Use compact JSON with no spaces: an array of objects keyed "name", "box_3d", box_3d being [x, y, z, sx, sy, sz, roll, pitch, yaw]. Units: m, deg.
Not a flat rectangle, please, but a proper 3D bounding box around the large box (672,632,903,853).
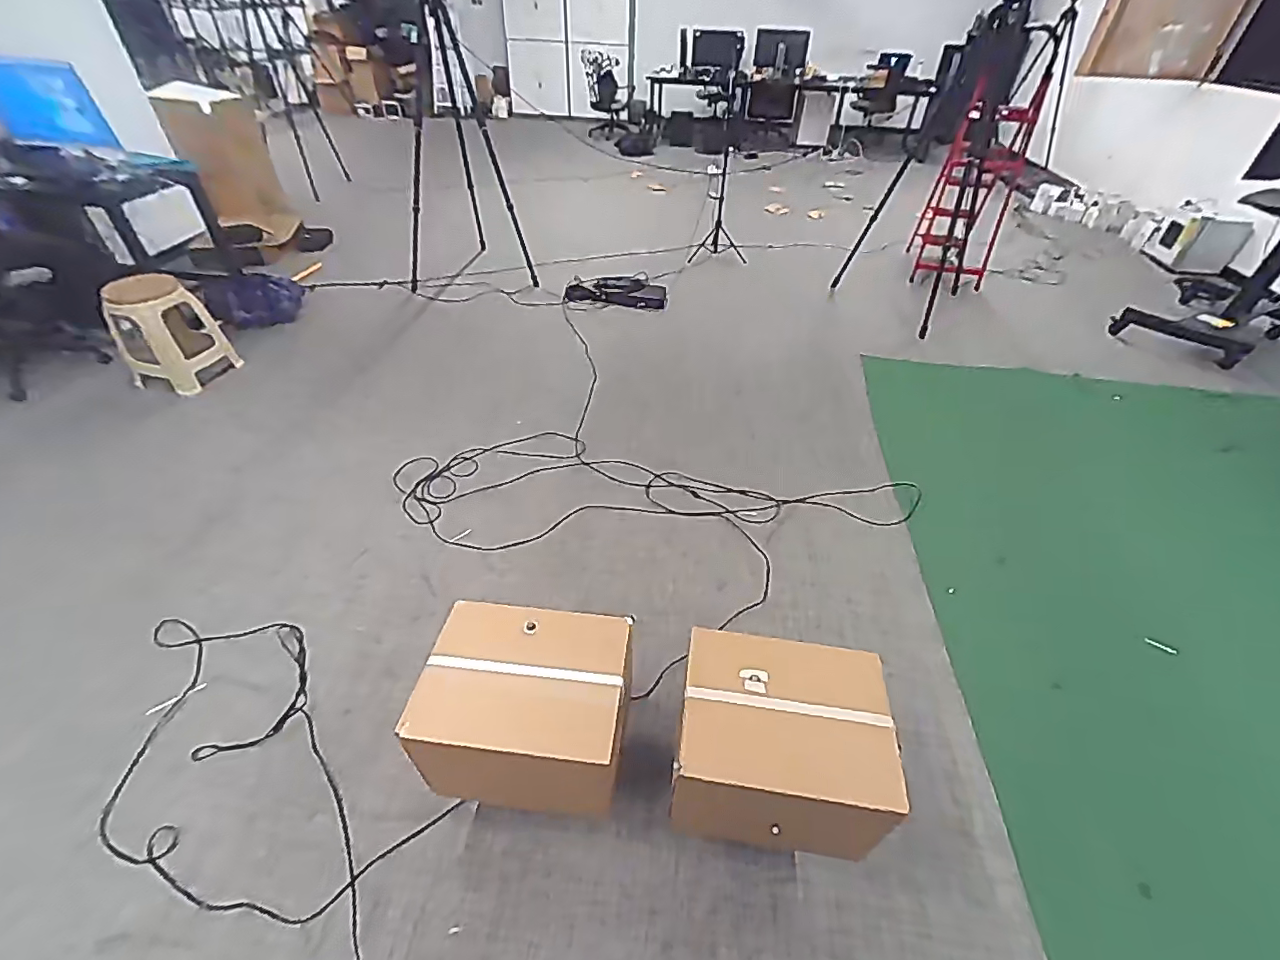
[{"name":"large box","box_3d":[0.290,0.568,1.175,0.408,0.320,0.320,7,42,6]}]
